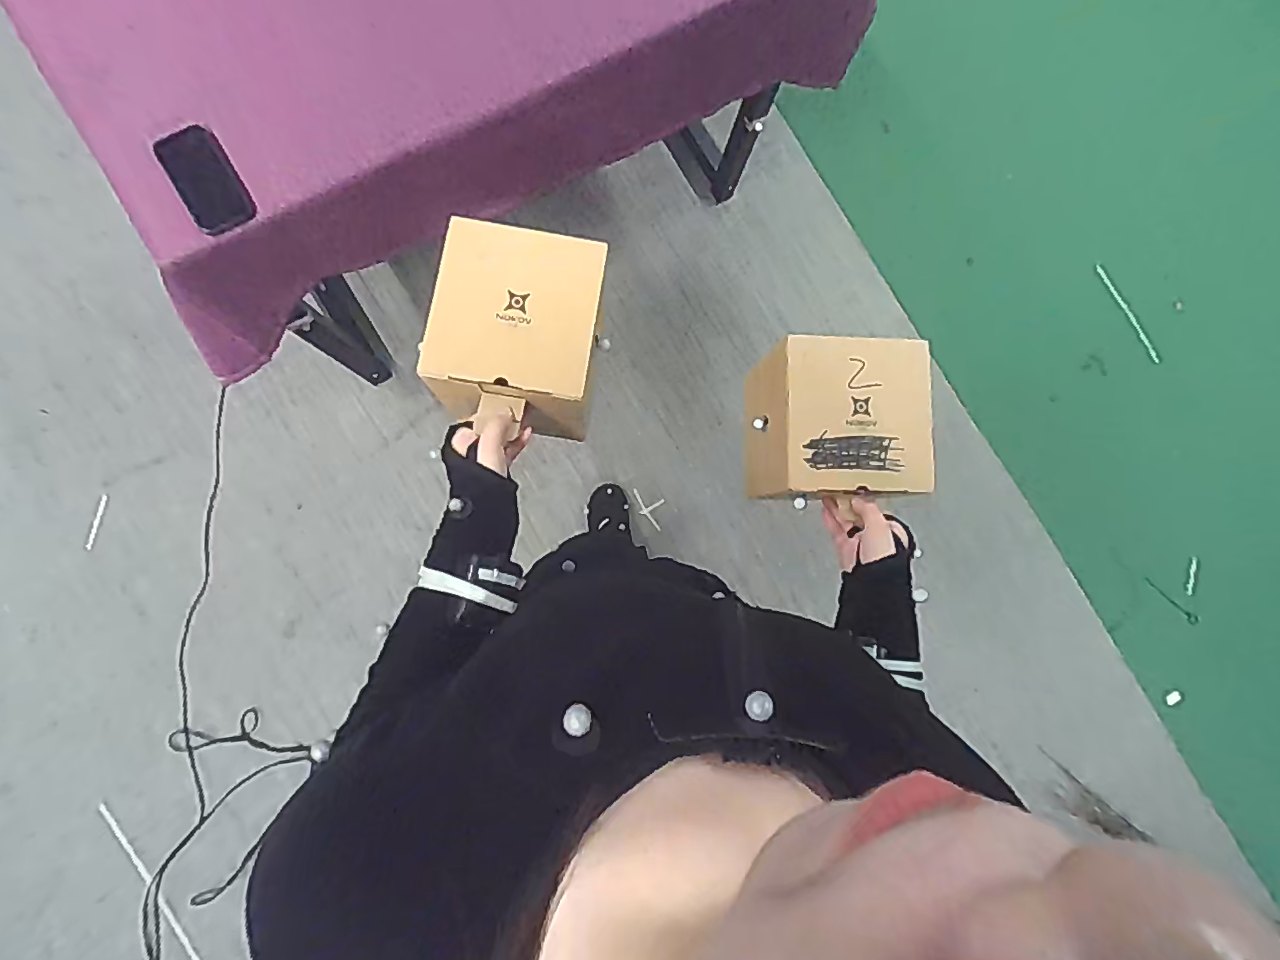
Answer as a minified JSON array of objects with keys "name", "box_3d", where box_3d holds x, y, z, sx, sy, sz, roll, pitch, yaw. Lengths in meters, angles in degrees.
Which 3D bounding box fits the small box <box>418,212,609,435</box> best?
[{"name":"small box","box_3d":[-0.132,-0.165,0.622,0.168,0.176,0.179,9,81,-4]}]
